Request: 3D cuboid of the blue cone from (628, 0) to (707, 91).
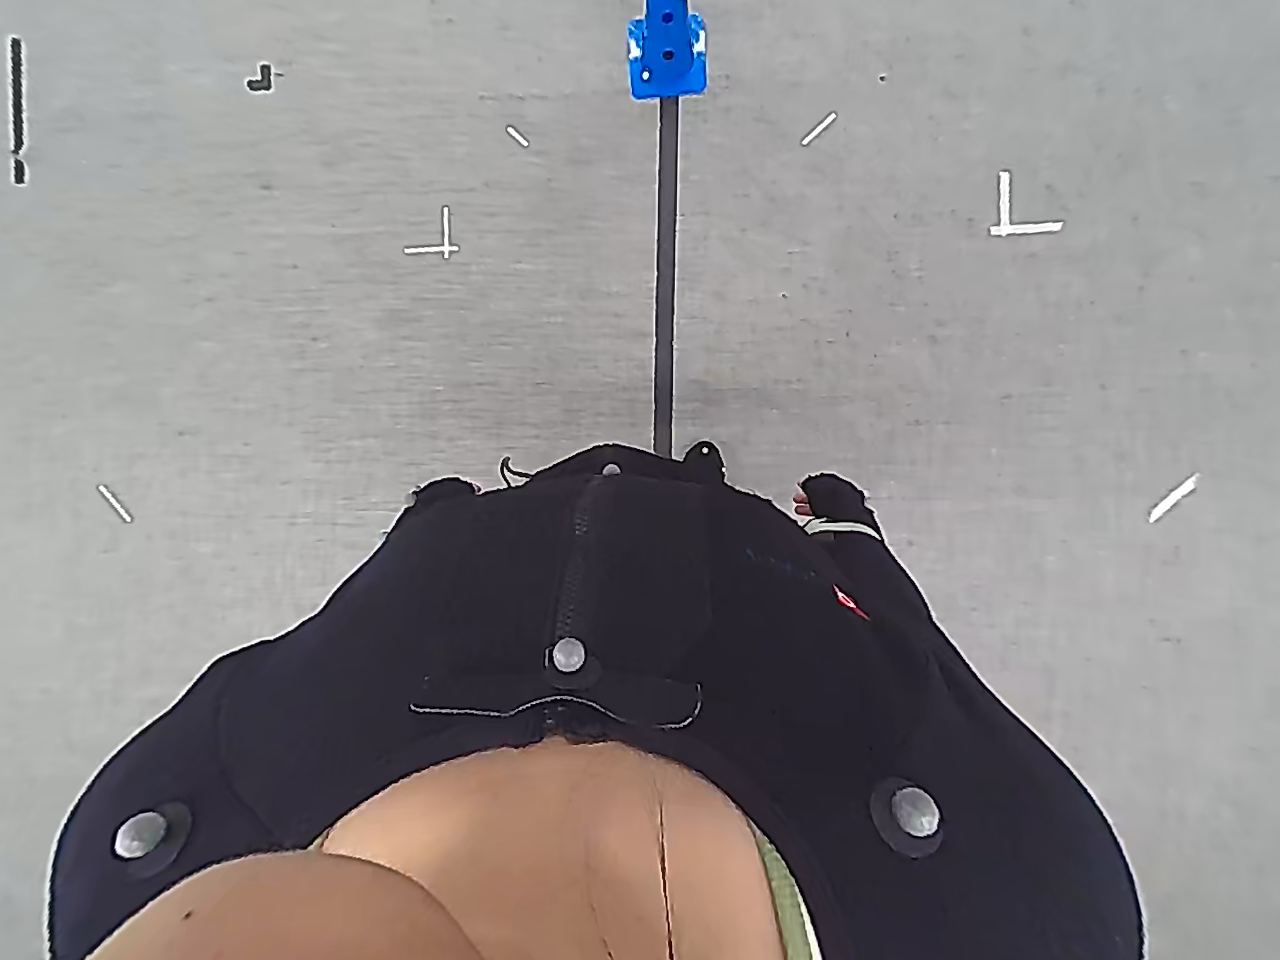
[{"bbox_3d":[0.062,-1.089,1.218,0.192,0.380,0.193,-5,94,4],"label":"blue cone"}]
